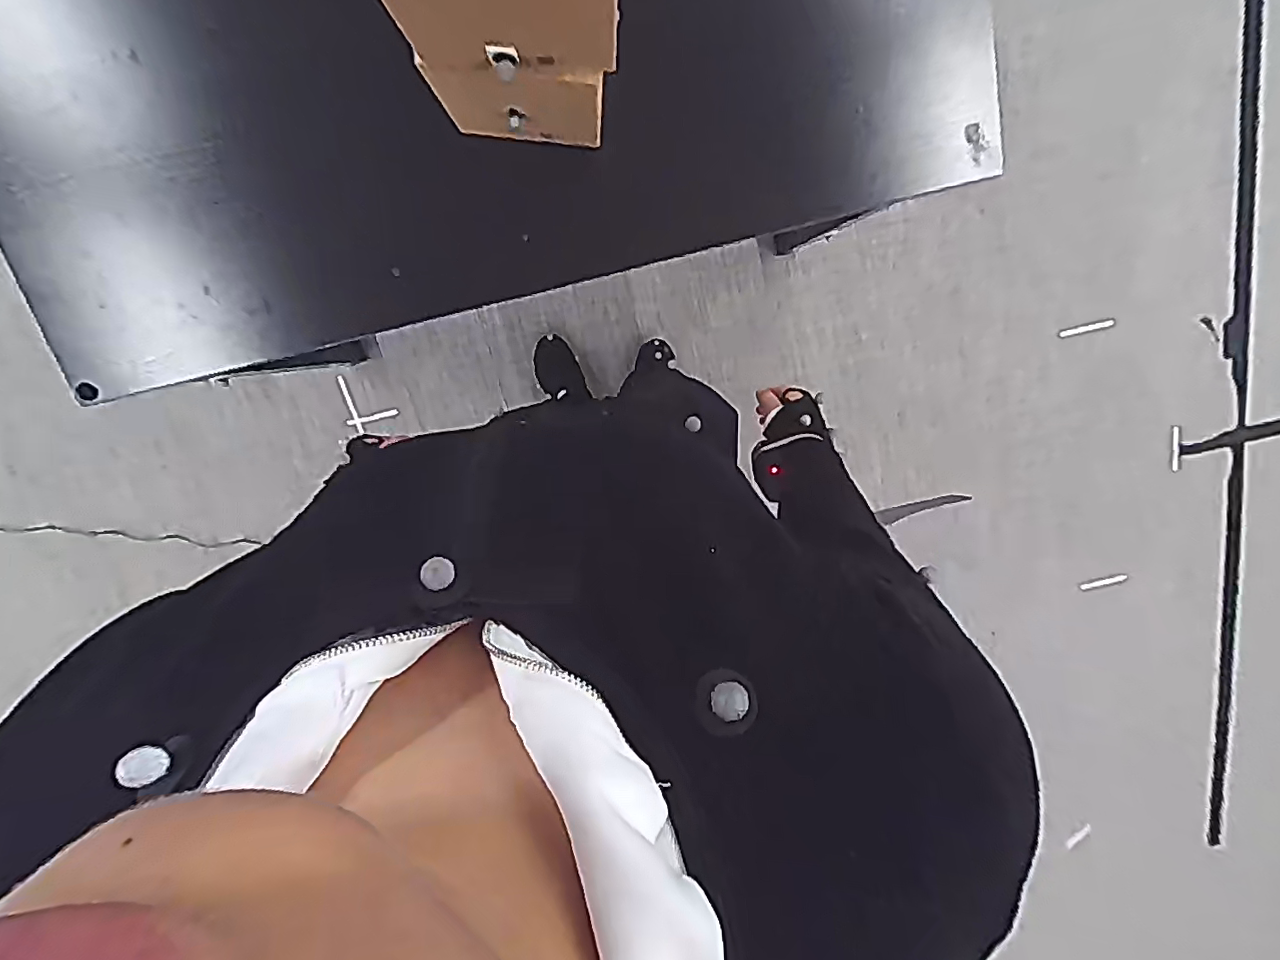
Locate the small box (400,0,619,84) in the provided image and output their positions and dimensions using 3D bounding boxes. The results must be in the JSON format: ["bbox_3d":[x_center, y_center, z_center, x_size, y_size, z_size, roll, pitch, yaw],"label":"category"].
[{"bbox_3d":[-0.104,-0.432,0.398,0.168,0.176,0.179,-5,105,-2],"label":"small box"}]

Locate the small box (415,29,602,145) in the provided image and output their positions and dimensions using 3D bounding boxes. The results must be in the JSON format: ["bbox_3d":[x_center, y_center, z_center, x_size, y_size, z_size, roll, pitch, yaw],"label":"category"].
[{"bbox_3d":[-0.121,-0.472,0.555,0.168,0.176,0.179,3,103,-6],"label":"small box"}]
